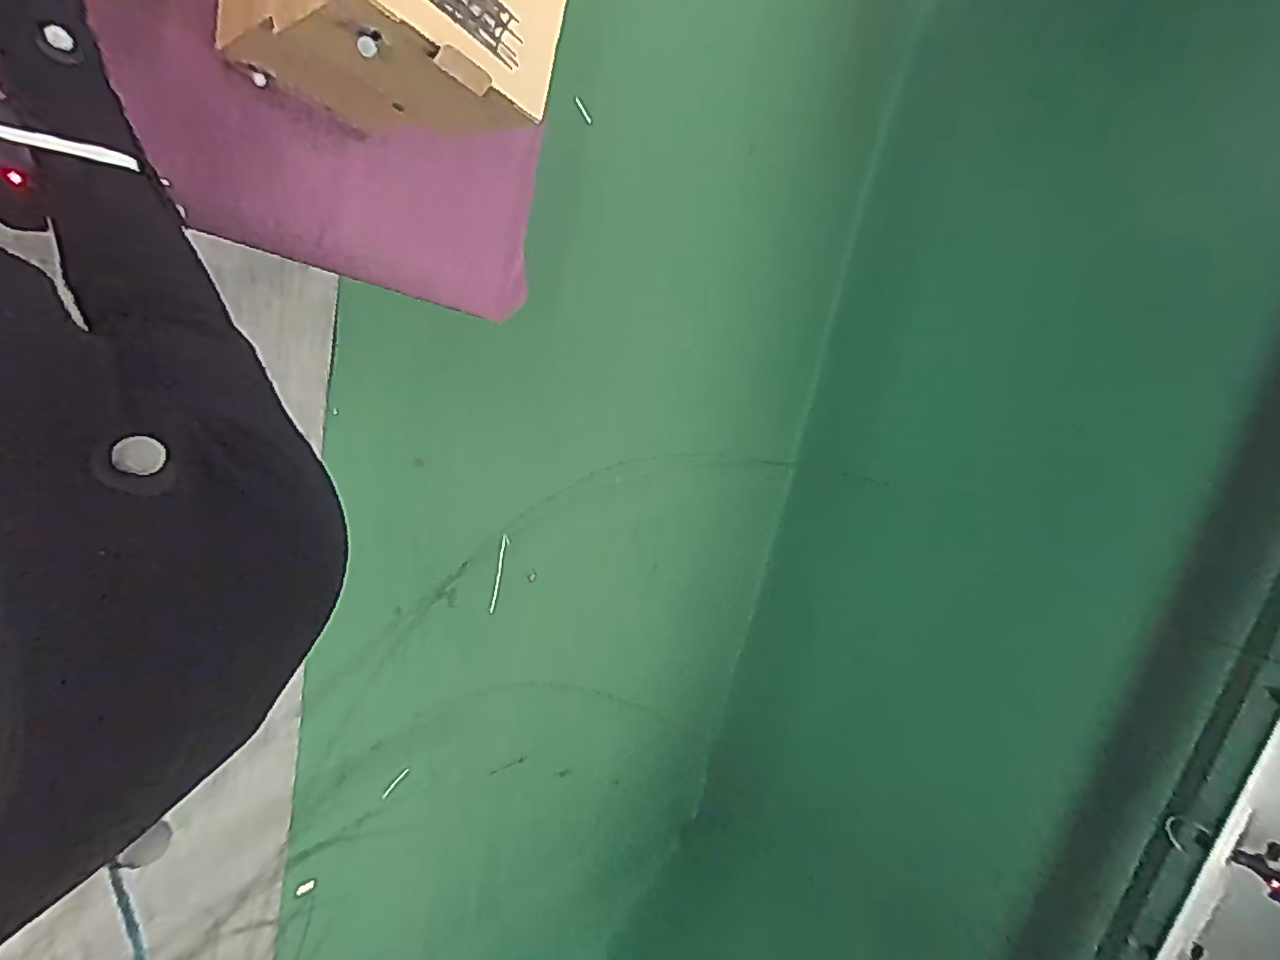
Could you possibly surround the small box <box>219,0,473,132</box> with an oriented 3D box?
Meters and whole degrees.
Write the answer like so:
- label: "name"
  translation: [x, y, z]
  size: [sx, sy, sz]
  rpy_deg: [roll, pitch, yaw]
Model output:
- label: "small box"
  translation: [-0.299, -0.489, 0.554]
  size: [0.168, 0.176, 0.179]
  rpy_deg: [5, 103, -55]
